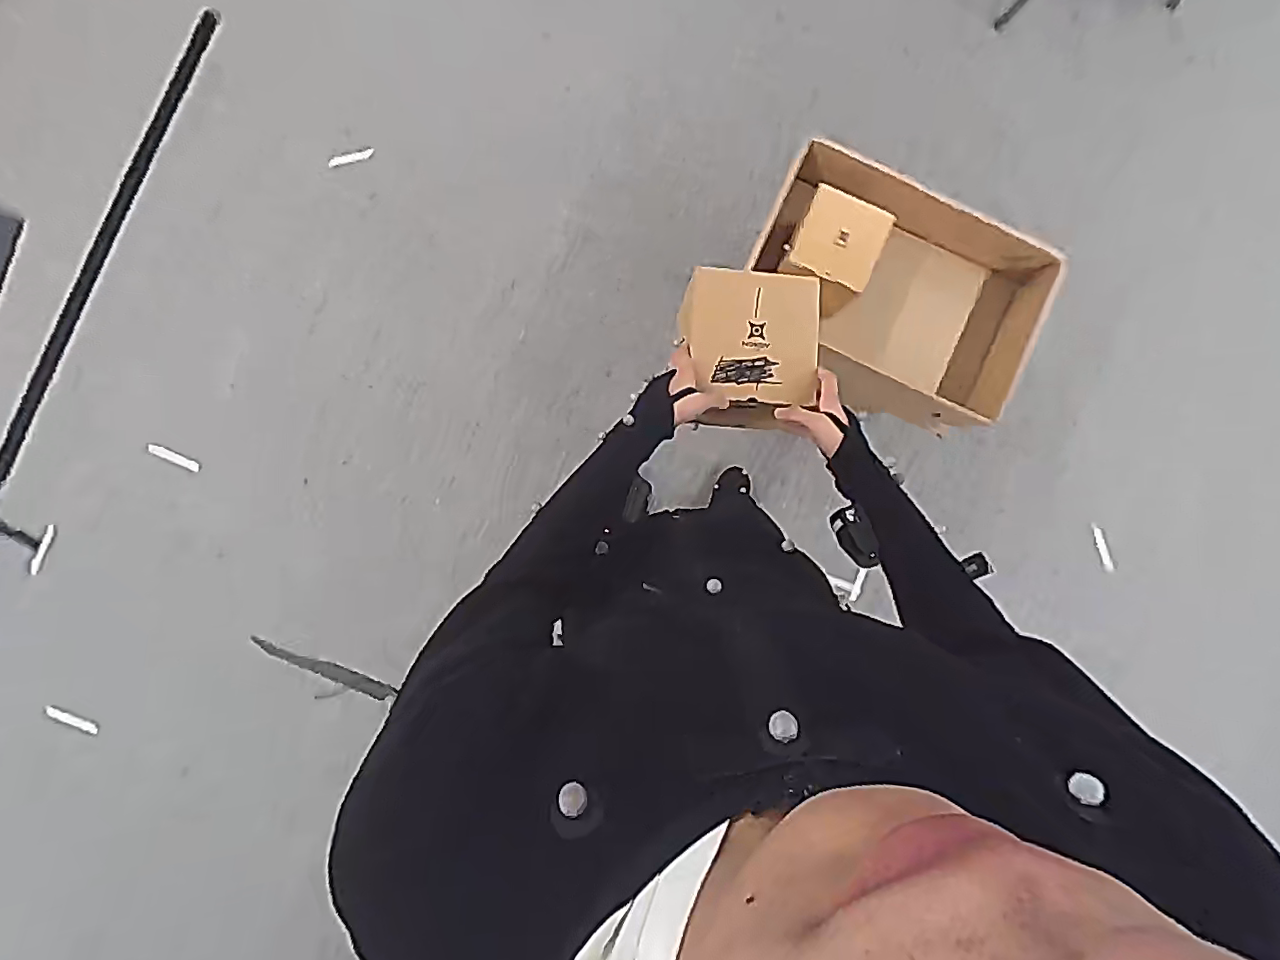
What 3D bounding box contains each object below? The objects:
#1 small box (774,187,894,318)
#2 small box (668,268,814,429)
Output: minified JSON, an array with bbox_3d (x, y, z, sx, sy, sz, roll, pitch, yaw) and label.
[{"bbox_3d":[0.403,-0.480,1.166,0.168,0.176,0.179,23,89,-2],"label":"small box"},{"bbox_3d":[0.133,-0.173,0.766,0.168,0.176,0.179,4,85,-4],"label":"small box"}]
